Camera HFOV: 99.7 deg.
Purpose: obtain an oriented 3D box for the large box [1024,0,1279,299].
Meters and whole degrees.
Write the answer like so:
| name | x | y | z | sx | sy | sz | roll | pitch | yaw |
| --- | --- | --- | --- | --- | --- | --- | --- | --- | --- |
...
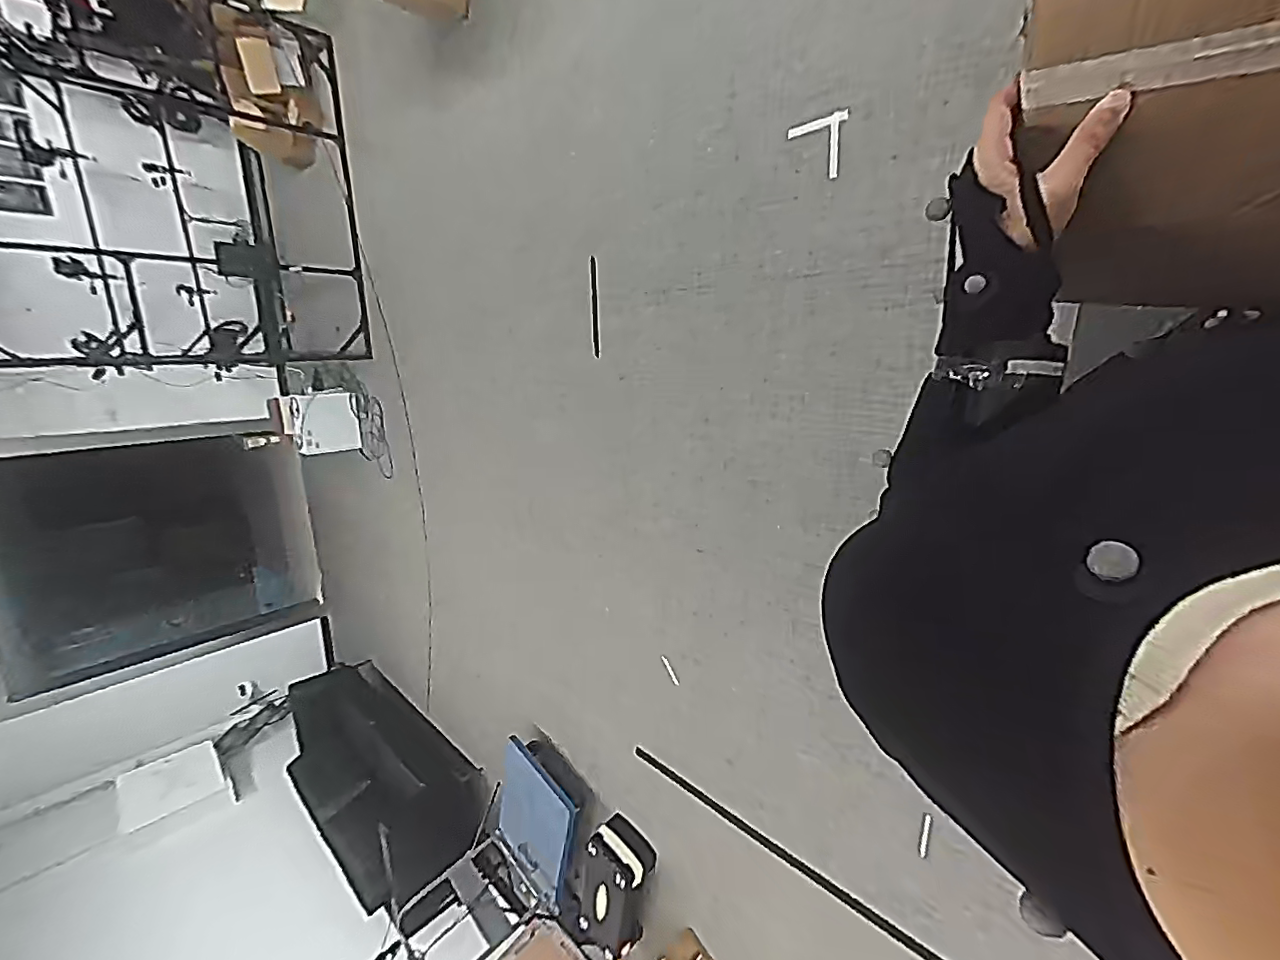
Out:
| name | x | y | z | sx | sy | sz | roll | pitch | yaw |
| --- | --- | --- | --- | --- | --- | --- | --- | --- | --- |
| large box | 0.471 | -0.309 | 0.260 | 0.408 | 0.320 | 0.320 | 19 | 154 | 42 |
